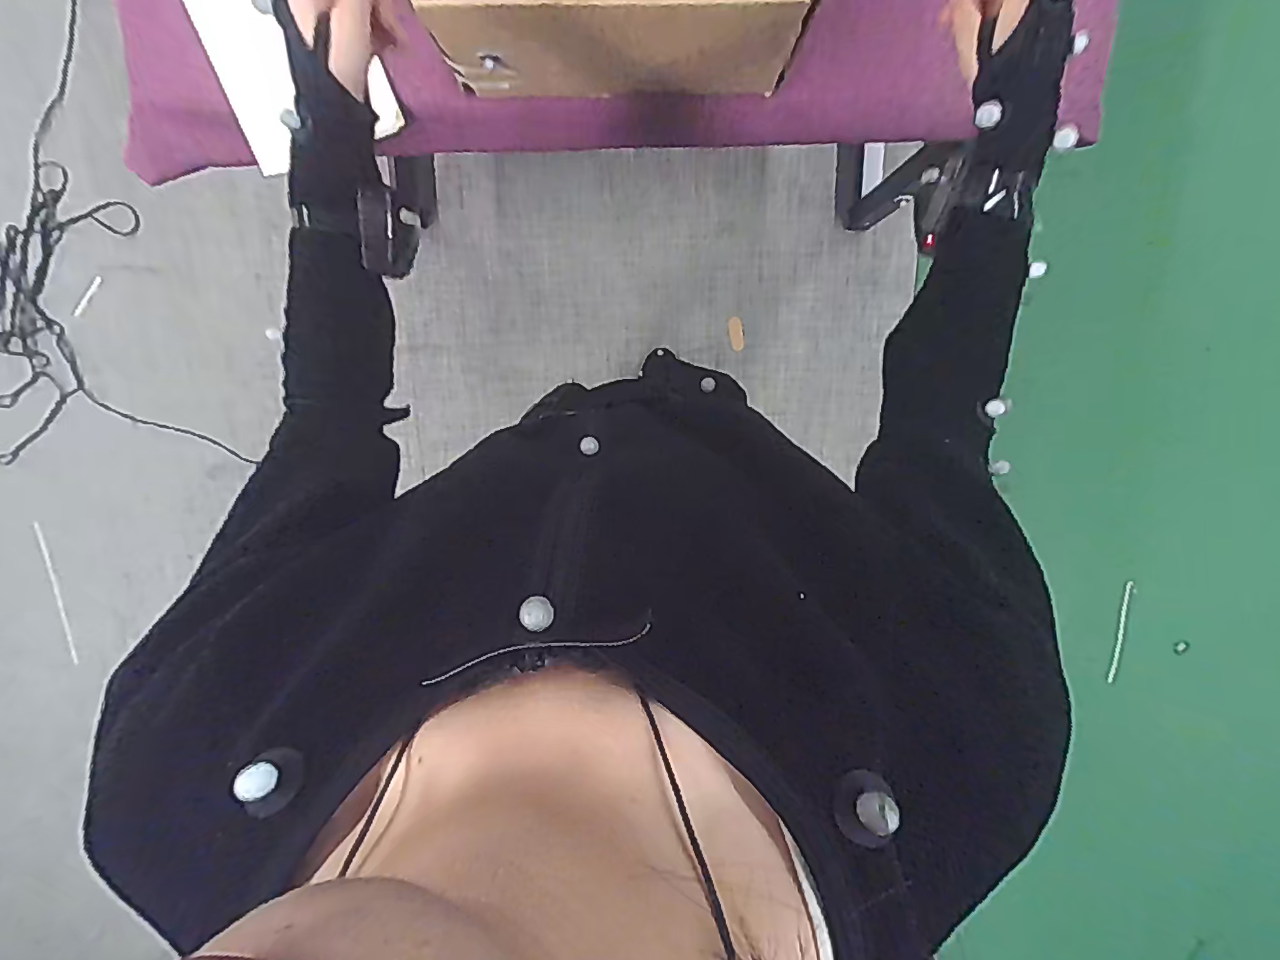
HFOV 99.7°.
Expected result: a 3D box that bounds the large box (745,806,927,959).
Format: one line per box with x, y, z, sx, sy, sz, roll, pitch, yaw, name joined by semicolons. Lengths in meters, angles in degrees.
0.561;1.244;1.598;0.408;0.320;0.320;-15;102;3;large box
